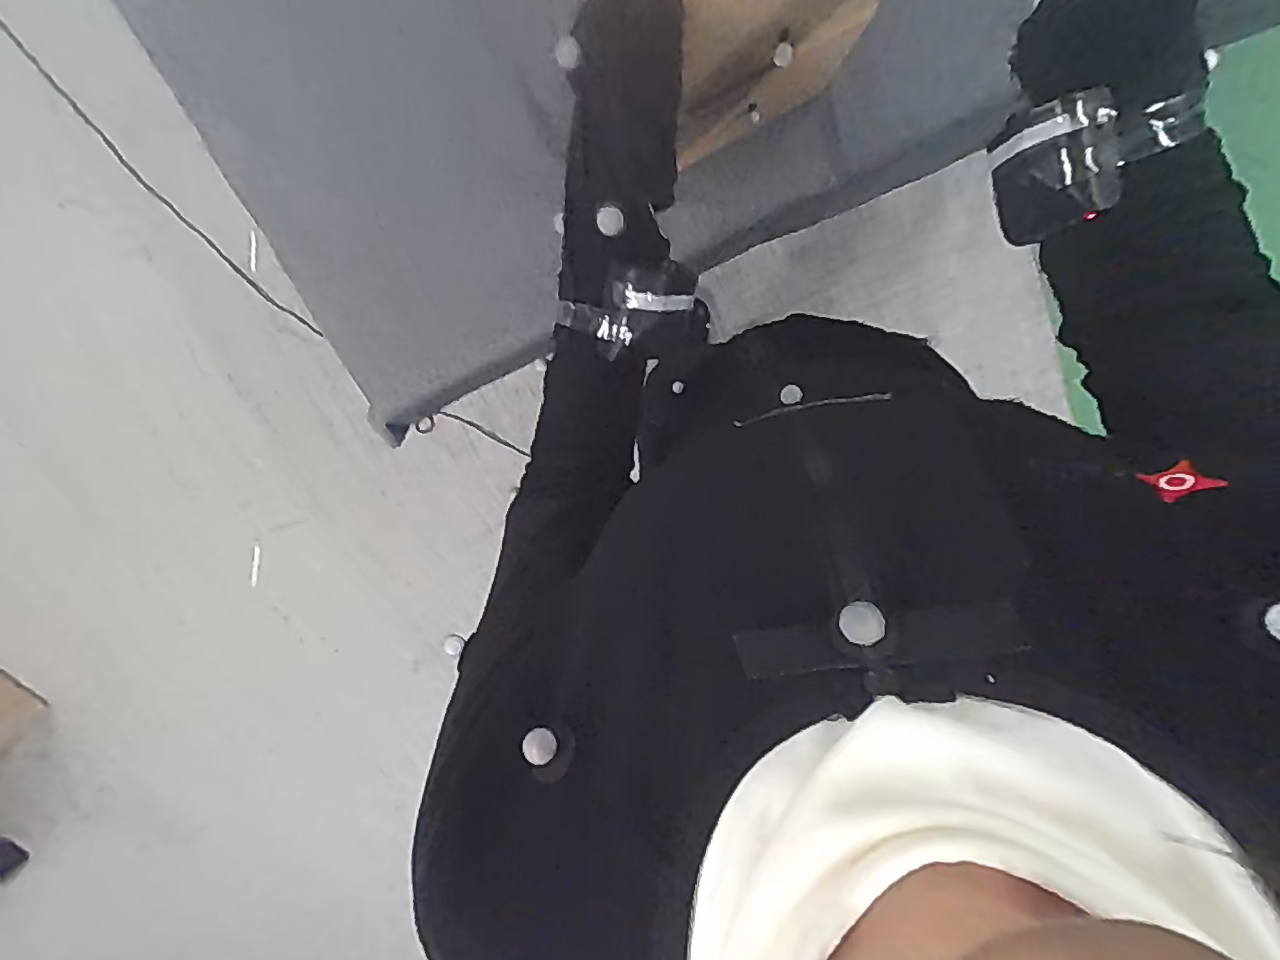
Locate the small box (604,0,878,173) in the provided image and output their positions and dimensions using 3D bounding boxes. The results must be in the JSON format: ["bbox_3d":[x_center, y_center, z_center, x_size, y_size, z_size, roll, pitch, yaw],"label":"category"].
[{"bbox_3d":[0.074,-0.414,0.486,0.179,0.176,0.168,-27,104,10],"label":"small box"}]
